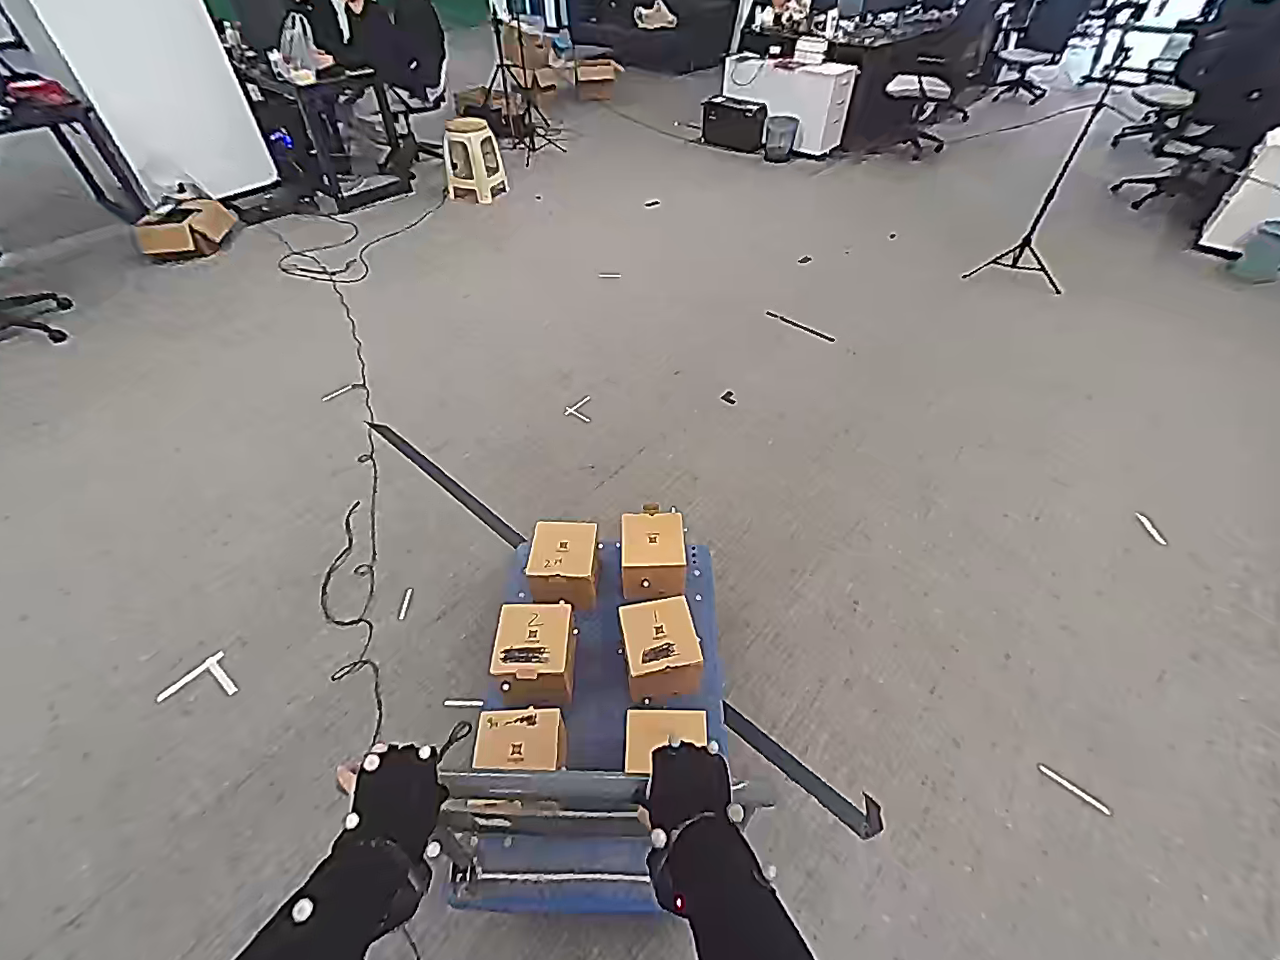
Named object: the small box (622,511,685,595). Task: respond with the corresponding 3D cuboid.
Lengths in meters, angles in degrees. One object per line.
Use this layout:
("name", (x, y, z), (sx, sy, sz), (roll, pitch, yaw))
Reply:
("small box", (0.035, 0.207, 1.495), (0.168, 0.176, 0.179), (-1, 47, -1))

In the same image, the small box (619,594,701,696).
("small box", (0.045, 0.405, 1.307), (0.168, 0.176, 0.179), (-8, 46, -7))

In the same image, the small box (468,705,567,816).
("small box", (-0.245, 0.591, 1.130), (0.168, 0.176, 0.179), (-1, 47, -2))

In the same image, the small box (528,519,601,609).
("small box", (-0.198, 0.229, 1.471), (0.168, 0.176, 0.179), (2, 48, 2))

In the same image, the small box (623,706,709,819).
("small box", (0.053, 0.594, 1.131), (0.168, 0.176, 0.179), (2, 46, 1))
